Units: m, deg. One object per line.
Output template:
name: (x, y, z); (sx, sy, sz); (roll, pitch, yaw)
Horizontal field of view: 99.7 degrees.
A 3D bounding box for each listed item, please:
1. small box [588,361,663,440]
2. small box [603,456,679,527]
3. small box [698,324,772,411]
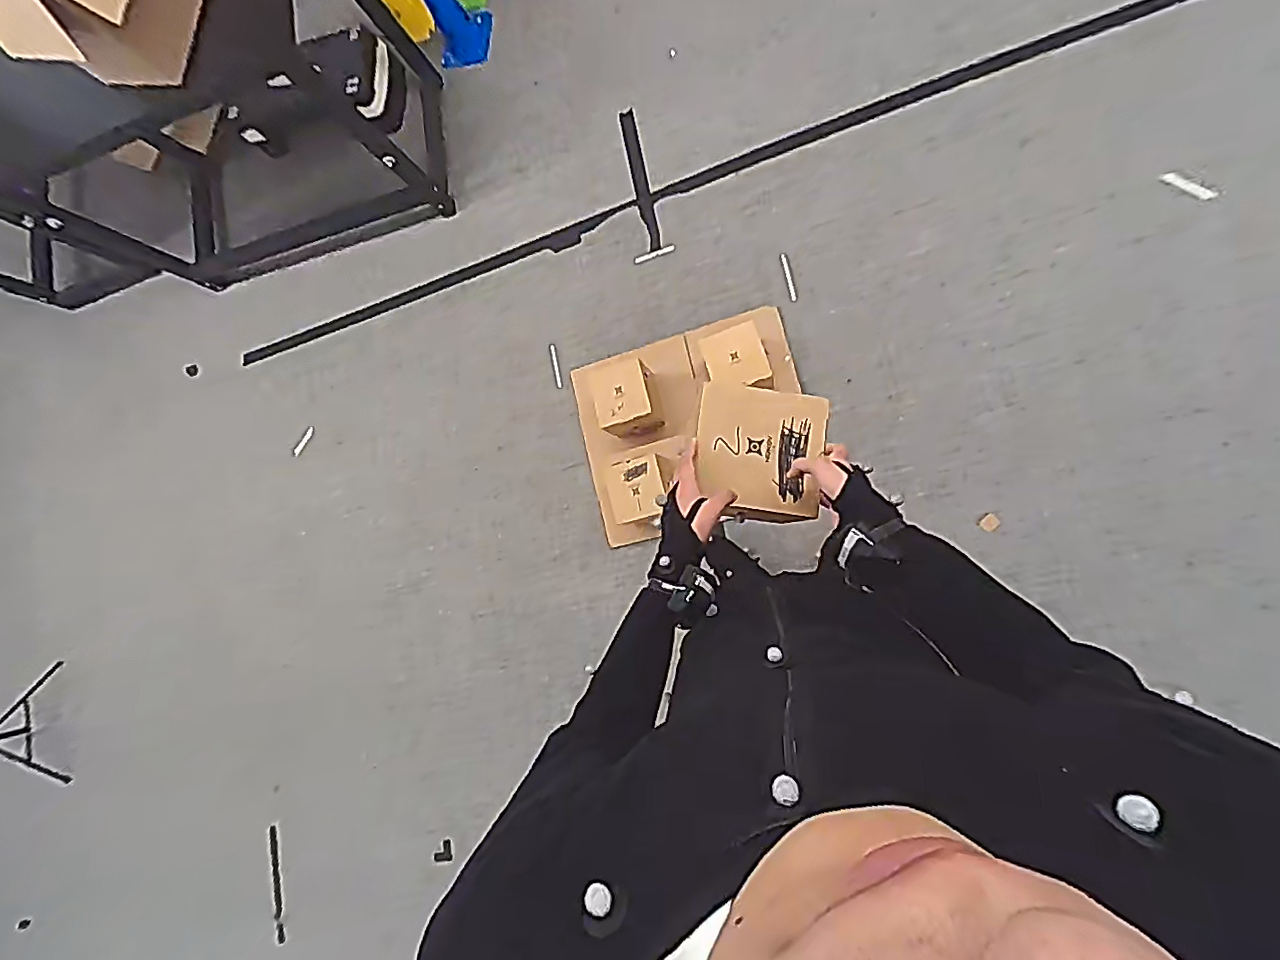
small box: (-0.041, -0.238, 1.665); (0.168, 0.176, 0.179); (-16, 81, 14)
small box: (0.007, 0.040, 1.628); (0.168, 0.176, 0.179); (-17, 82, 14)
small box: (0.283, -0.324, 1.590); (0.168, 0.176, 0.179); (-19, 80, 13)
